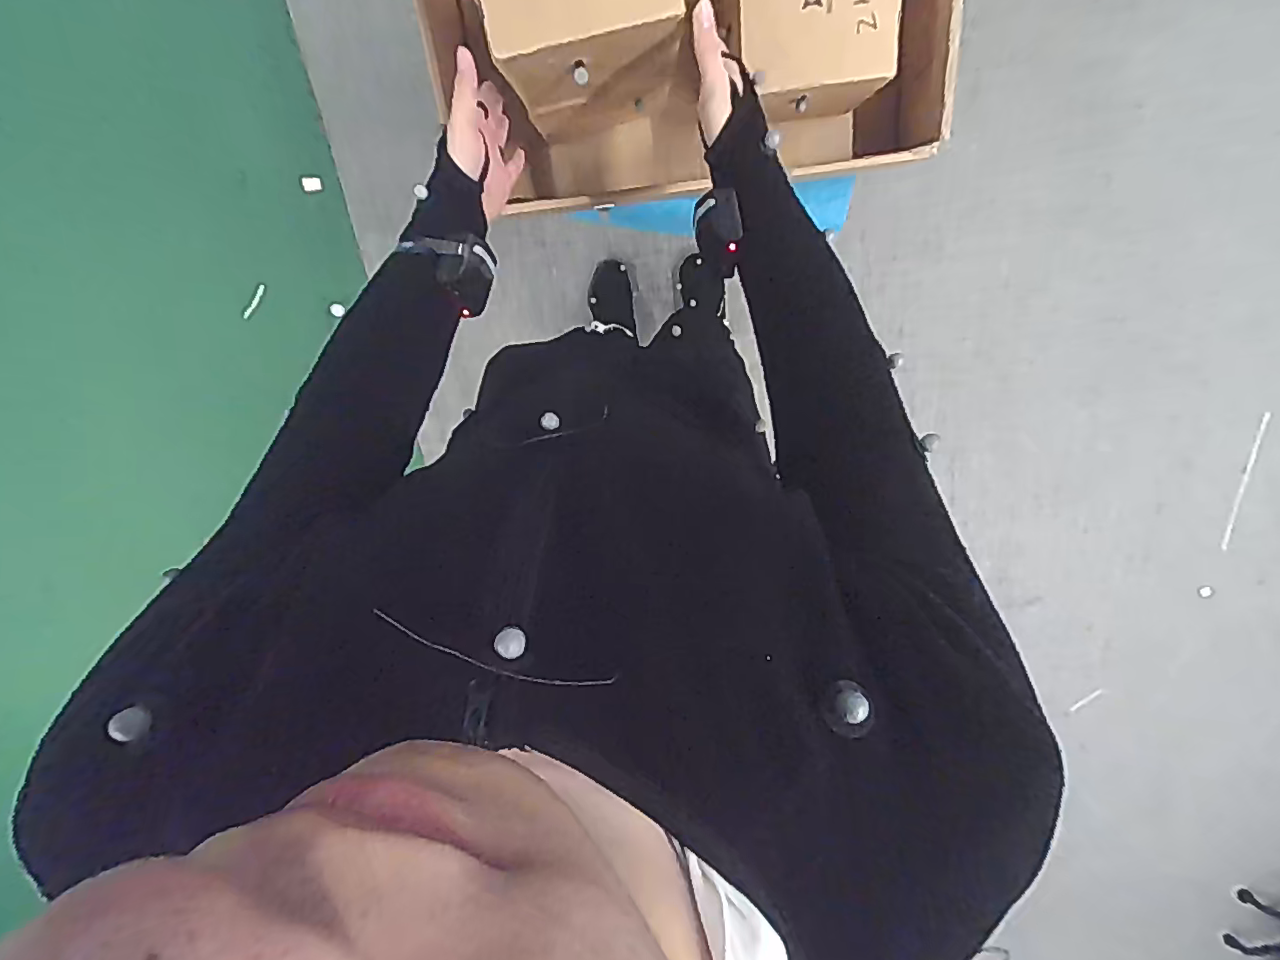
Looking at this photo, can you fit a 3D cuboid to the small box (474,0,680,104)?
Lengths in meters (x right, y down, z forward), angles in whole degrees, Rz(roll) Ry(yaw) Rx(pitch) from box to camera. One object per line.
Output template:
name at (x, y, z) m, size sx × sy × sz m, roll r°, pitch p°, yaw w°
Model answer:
small box at (-0.062, -0.488, 0.514) m, size 0.179 × 0.176 × 0.168 m, roll -10°, pitch 112°, yaw 5°
